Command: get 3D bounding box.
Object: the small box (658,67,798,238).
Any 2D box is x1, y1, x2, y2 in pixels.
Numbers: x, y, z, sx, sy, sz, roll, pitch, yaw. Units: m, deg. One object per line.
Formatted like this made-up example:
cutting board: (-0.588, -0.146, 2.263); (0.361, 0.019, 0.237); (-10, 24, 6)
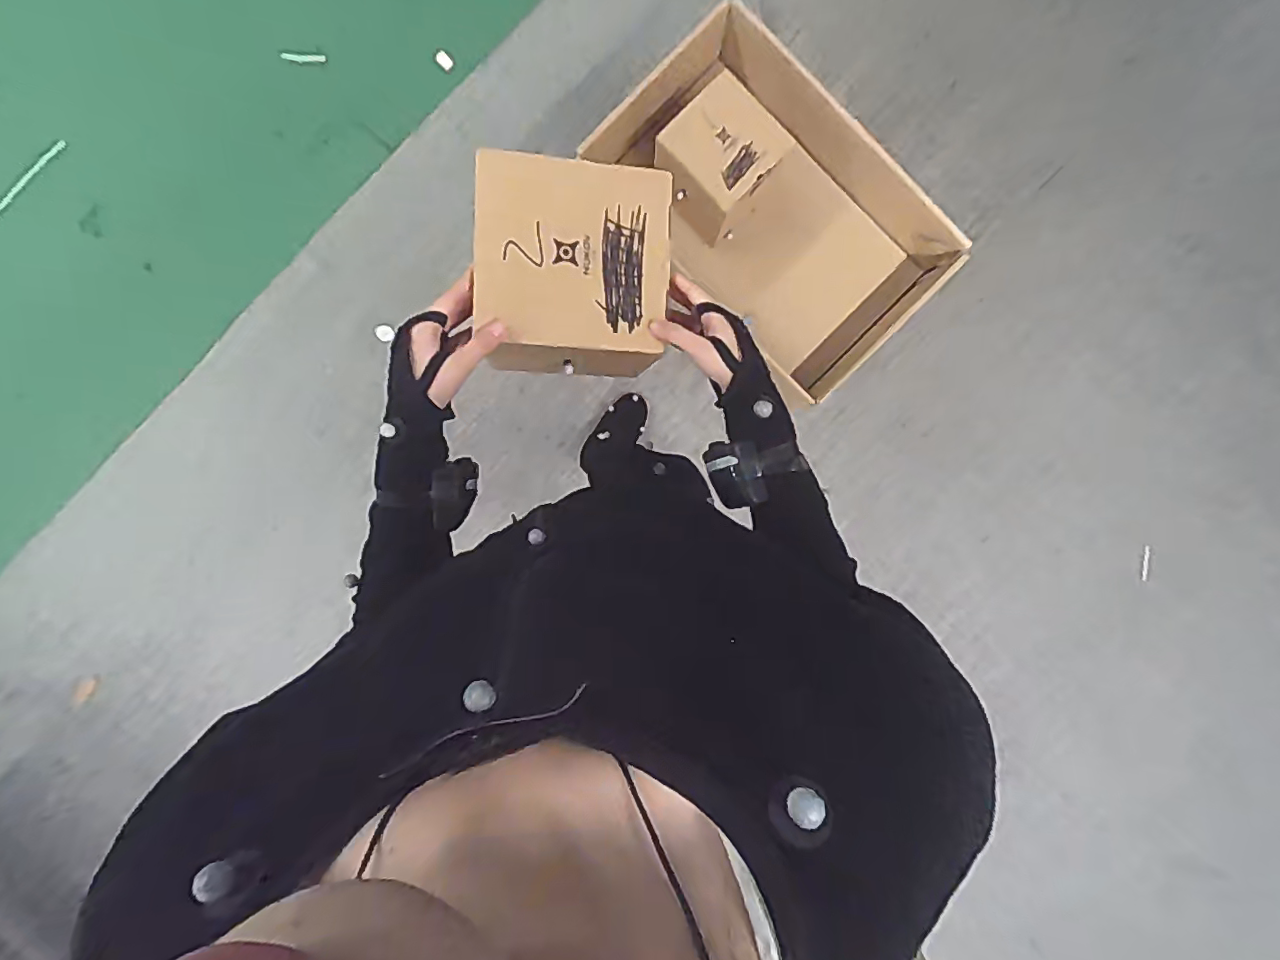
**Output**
small box: (0.148, -0.571, 0.977); (0.168, 0.176, 0.179); (-44, 92, 1)
